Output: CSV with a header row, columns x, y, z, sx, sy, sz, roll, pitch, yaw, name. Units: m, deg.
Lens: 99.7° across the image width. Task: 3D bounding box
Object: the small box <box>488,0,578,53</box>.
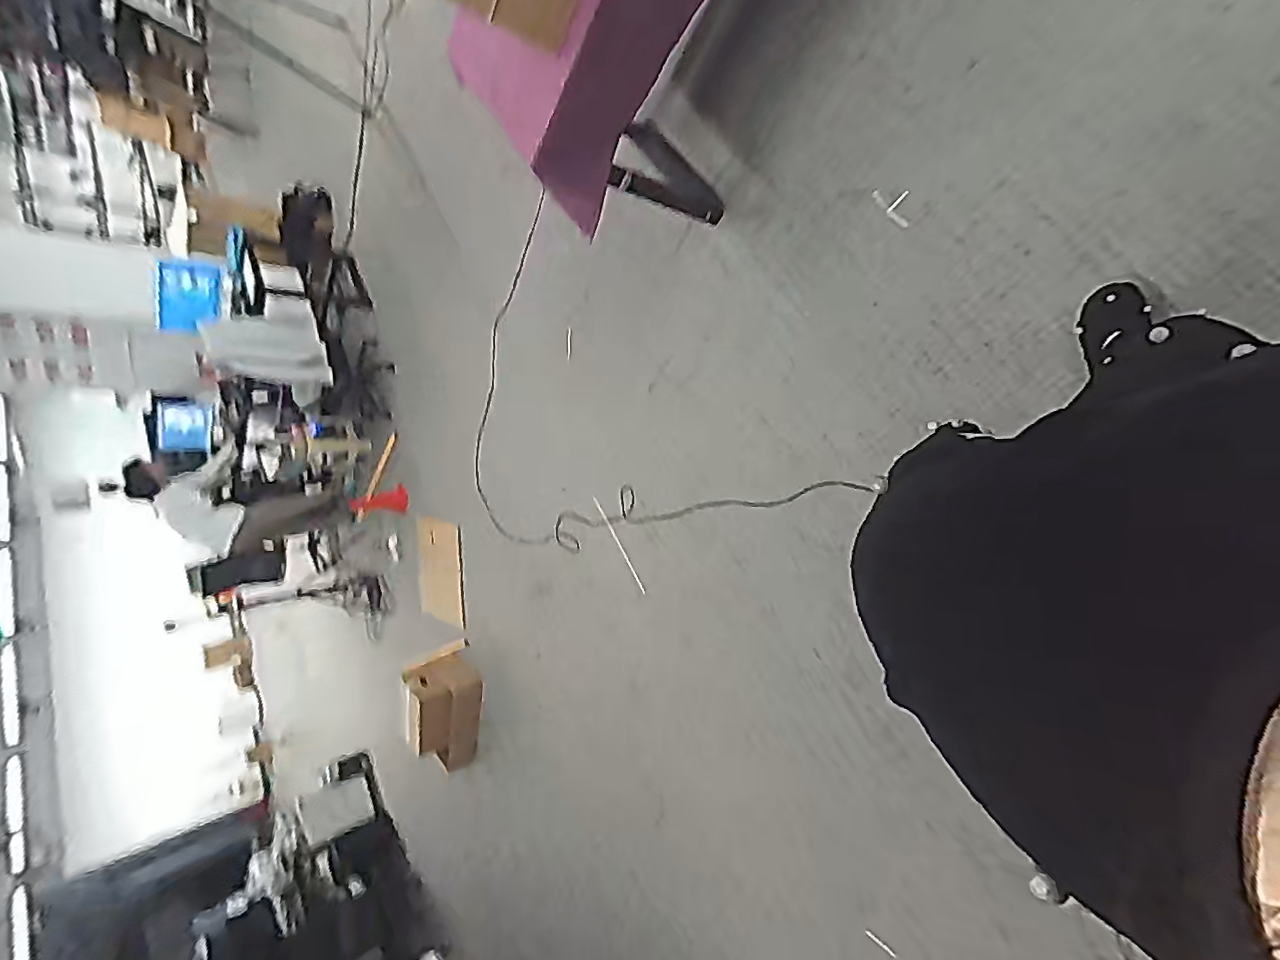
x,y,z,sx,sy,sz,roll,pitch,yaw,name
-0.236,-1.065,1.141,0.179,0.176,0.168,-50,60,36,small box
